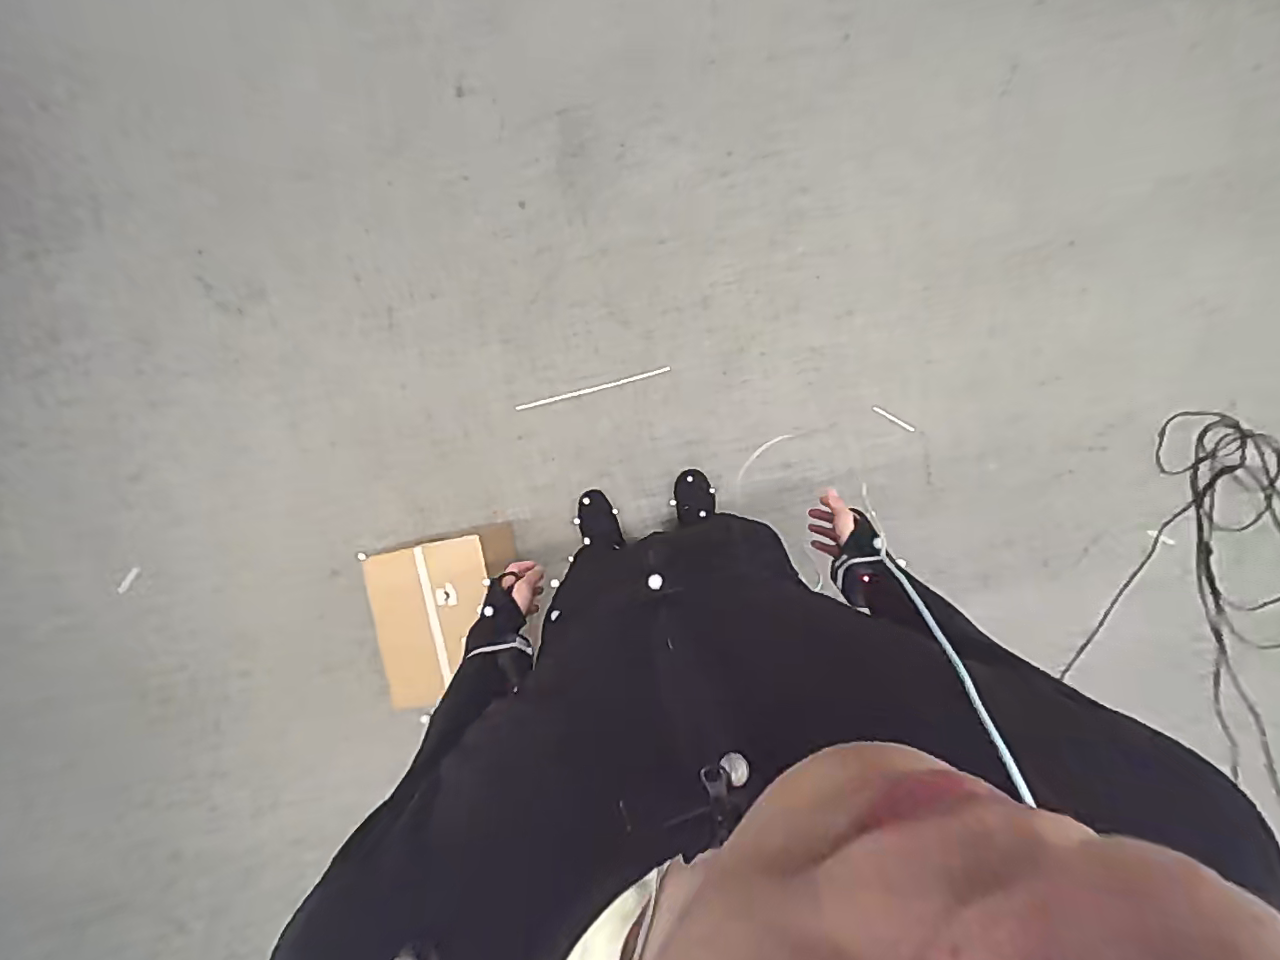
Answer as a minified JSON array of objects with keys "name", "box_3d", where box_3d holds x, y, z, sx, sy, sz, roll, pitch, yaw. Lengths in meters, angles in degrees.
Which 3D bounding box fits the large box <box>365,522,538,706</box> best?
[{"name":"large box","box_3d":[-0.508,0.357,1.530,0.320,0.320,0.408,-12,91,1]}]
